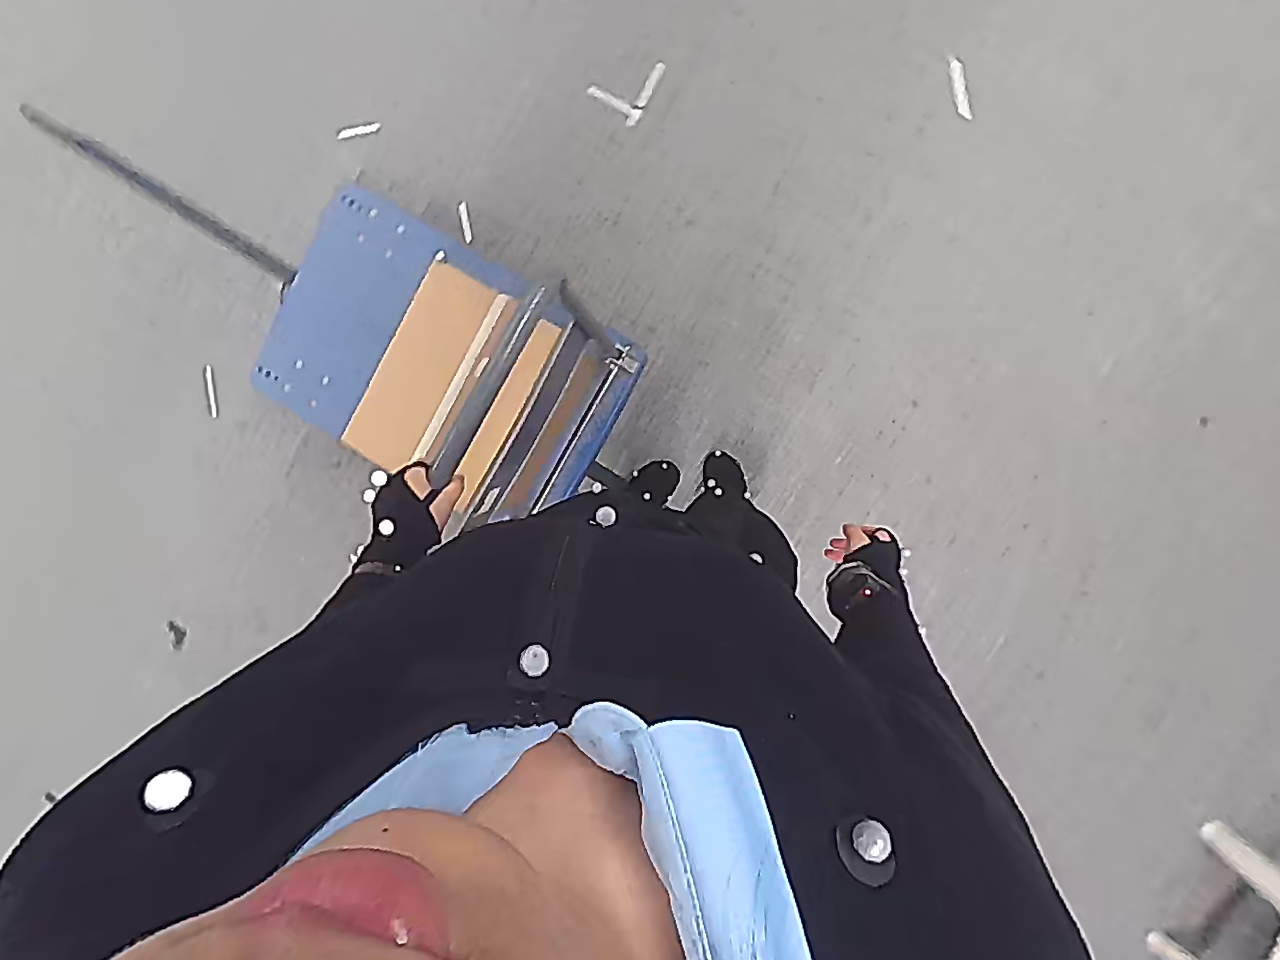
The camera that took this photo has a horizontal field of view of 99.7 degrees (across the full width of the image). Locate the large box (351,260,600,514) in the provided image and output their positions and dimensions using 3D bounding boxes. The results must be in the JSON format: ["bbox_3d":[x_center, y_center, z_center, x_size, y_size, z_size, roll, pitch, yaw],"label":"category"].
[{"bbox_3d":[-0.334,-0.182,1.190,0.320,0.320,0.408,31,95,2],"label":"large box"}]
